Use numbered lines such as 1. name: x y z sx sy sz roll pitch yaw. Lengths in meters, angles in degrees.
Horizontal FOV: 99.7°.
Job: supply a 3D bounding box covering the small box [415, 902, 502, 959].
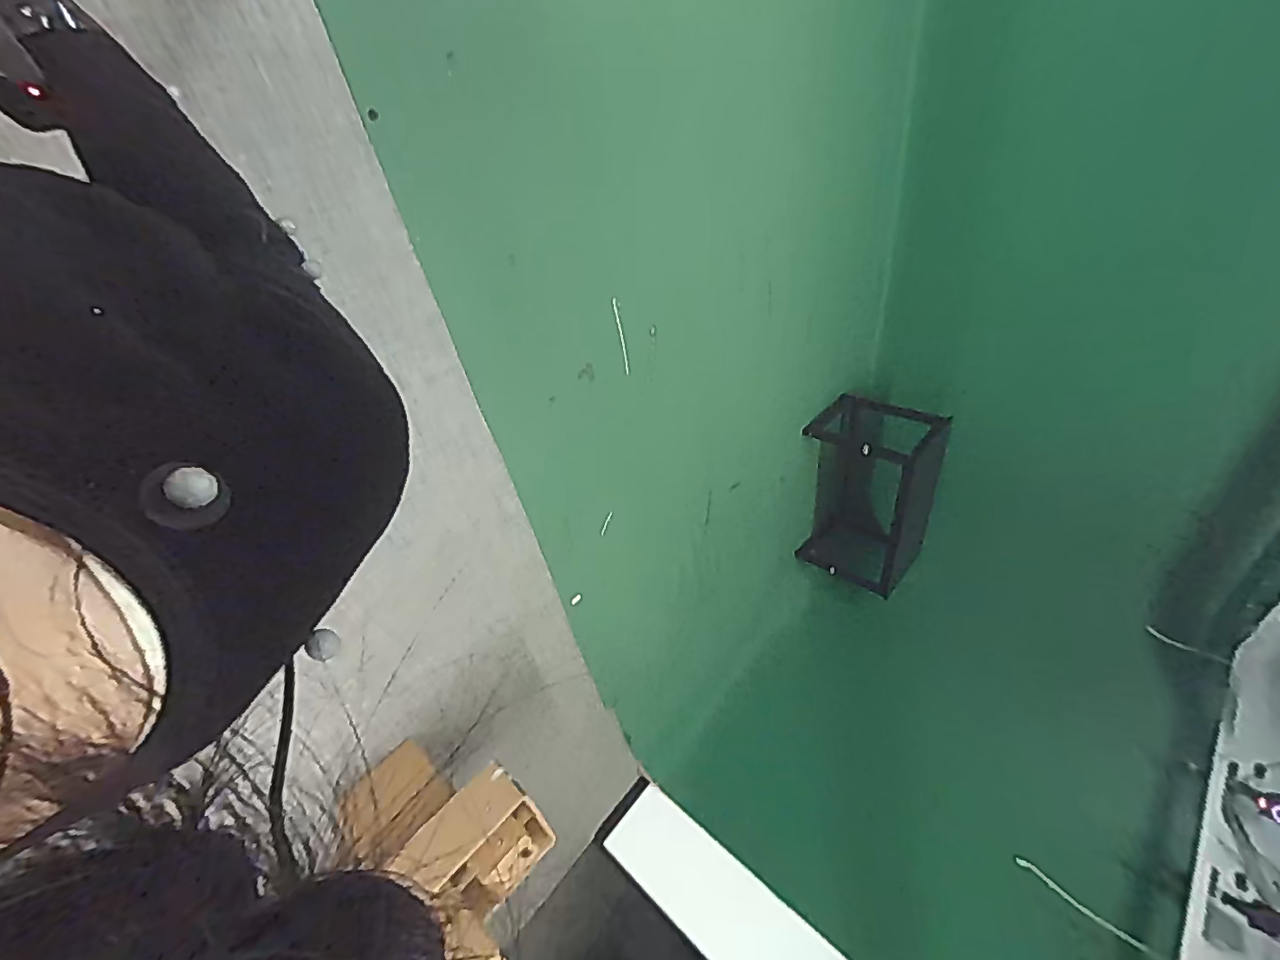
1. small box: -0.536 1.409 1.590 0.179 0.176 0.168 -36 135 -34
